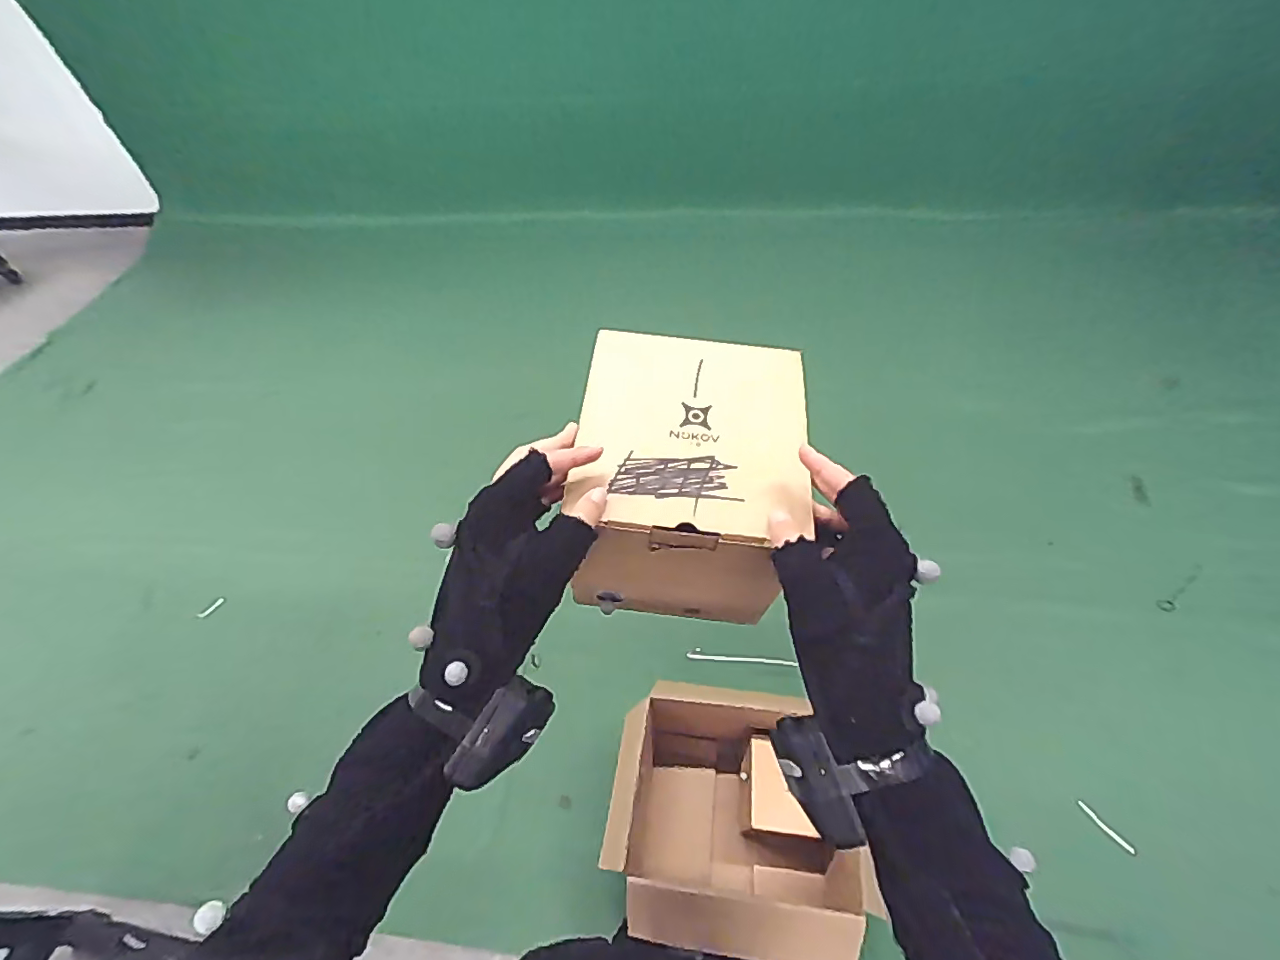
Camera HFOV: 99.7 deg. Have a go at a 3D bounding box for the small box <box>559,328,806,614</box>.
[{"bbox_3d":[0.035,0.001,0.460,0.168,0.176,0.179,7,58,1],"label":"small box"}]
